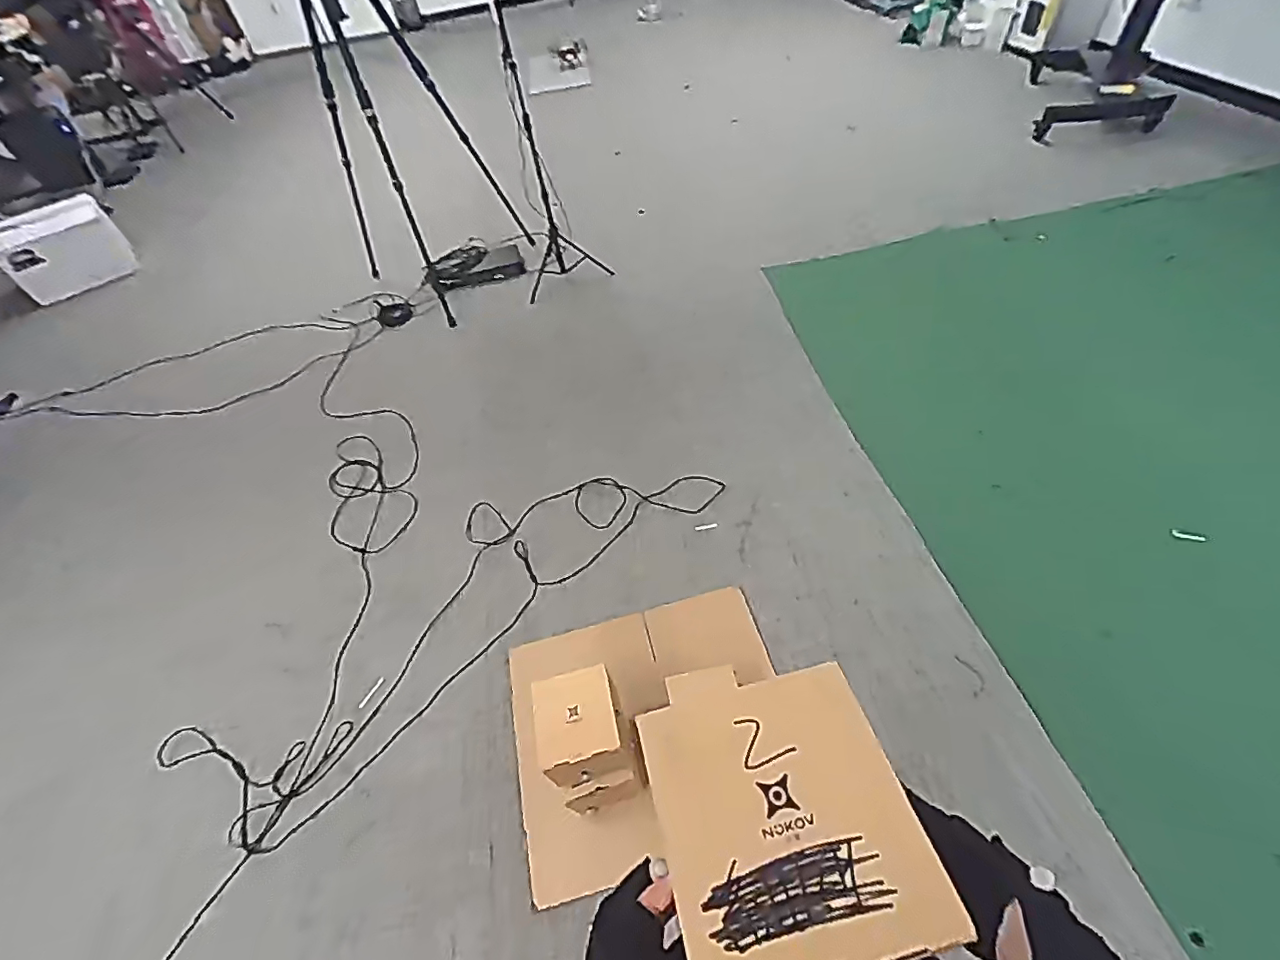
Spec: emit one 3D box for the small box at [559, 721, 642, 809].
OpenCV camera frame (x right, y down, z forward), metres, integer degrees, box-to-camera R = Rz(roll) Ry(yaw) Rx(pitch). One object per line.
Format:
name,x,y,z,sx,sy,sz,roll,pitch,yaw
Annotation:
small box,-0.099,0.653,1.271,0.168,0.176,0.179,-17,51,-5

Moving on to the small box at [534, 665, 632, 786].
small box,-0.121,0.529,1.163,0.168,0.176,0.179,-14,51,-3

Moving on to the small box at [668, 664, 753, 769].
small box,0.166,0.571,1.299,0.168,0.176,0.179,-12,51,0
